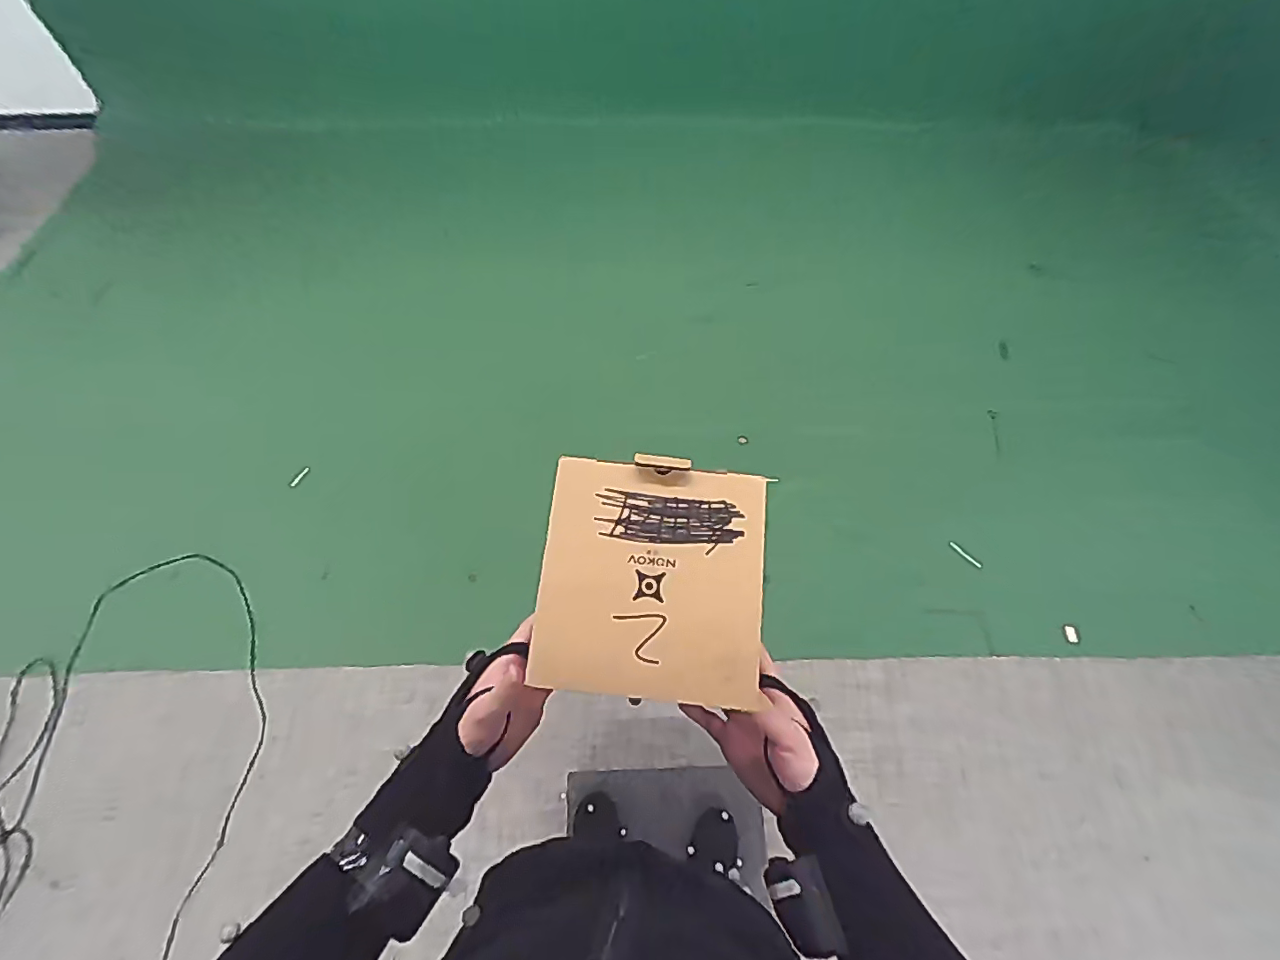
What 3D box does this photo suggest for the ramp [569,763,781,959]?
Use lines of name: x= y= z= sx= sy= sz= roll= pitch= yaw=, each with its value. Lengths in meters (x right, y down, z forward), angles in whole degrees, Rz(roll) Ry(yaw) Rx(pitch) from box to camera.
ramp: x=0.084 y=1.193 z=1.203 sx=0.509 sy=0.206 sz=0.991 roll=-3 pitch=61 yaw=-3
